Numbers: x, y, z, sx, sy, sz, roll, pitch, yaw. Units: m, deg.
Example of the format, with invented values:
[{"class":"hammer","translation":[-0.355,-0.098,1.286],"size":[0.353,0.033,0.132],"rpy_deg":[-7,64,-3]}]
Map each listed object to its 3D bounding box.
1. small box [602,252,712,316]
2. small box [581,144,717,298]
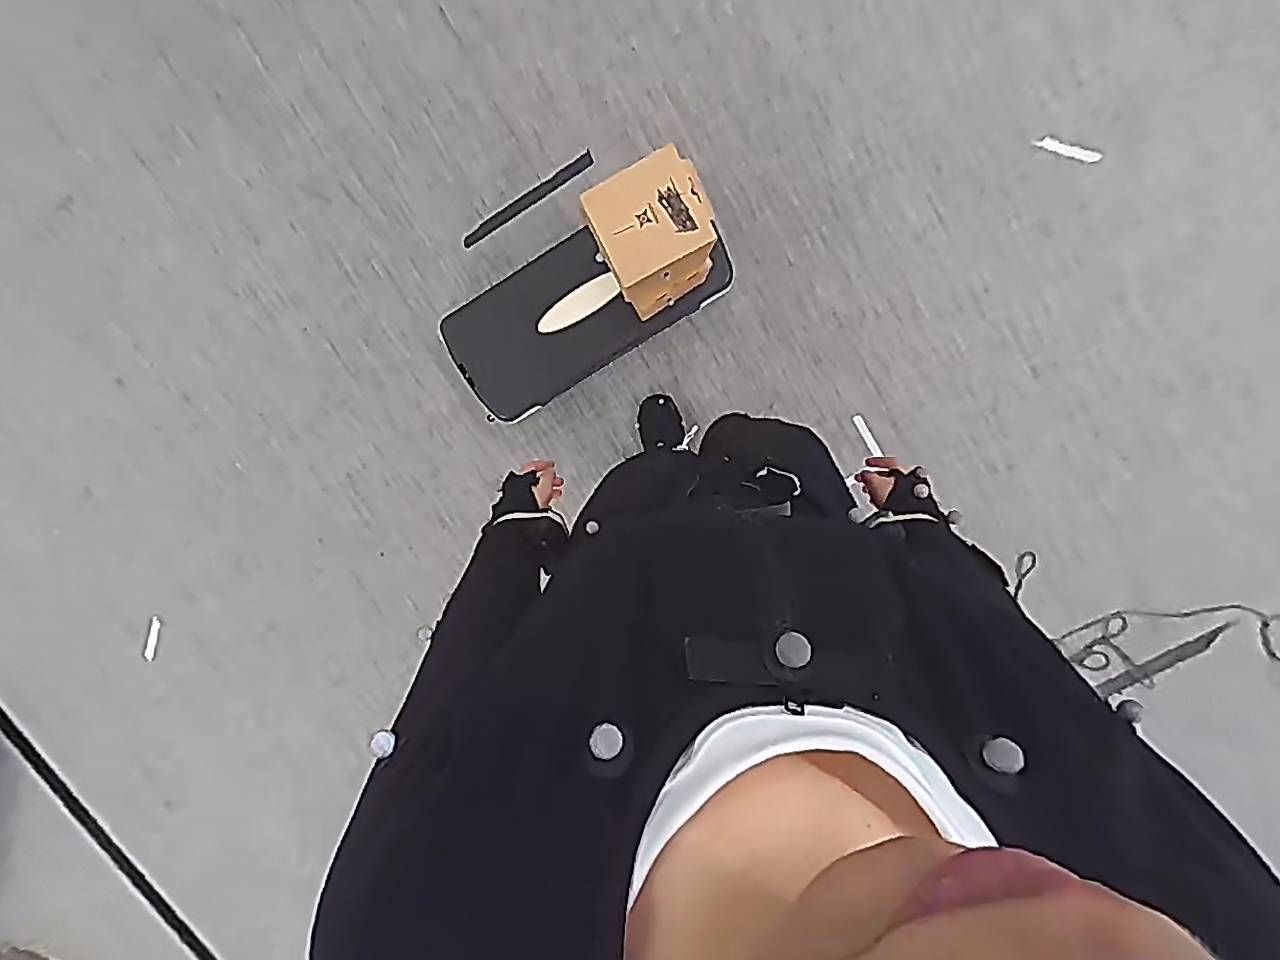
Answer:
[{"class":"small box","translation":[0.026,-0.463,1.120],"size":[0.168,0.176,0.179],"rpy_deg":[-33,99,6]},{"class":"small box","translation":[0.015,-0.444,0.956],"size":[0.179,0.176,0.168],"rpy_deg":[-27,99,6]}]
